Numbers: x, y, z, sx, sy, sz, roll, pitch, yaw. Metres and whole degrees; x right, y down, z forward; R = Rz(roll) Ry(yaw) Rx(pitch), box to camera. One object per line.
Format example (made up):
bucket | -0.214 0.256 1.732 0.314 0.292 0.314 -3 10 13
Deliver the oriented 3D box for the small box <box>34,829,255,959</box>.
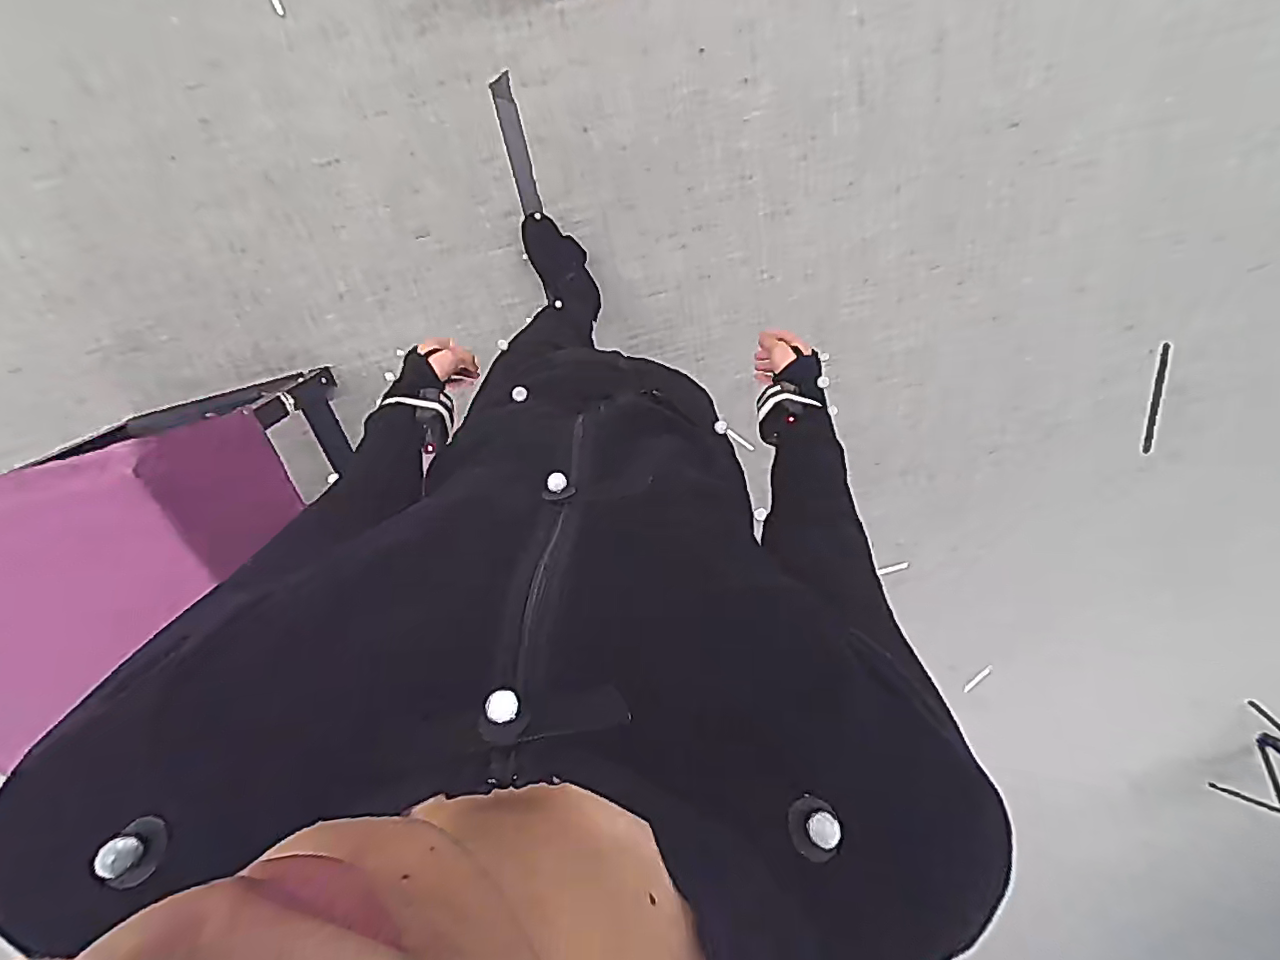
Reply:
small box | -0.801 0.723 0.896 0.179 0.176 0.168 -19 117 3
